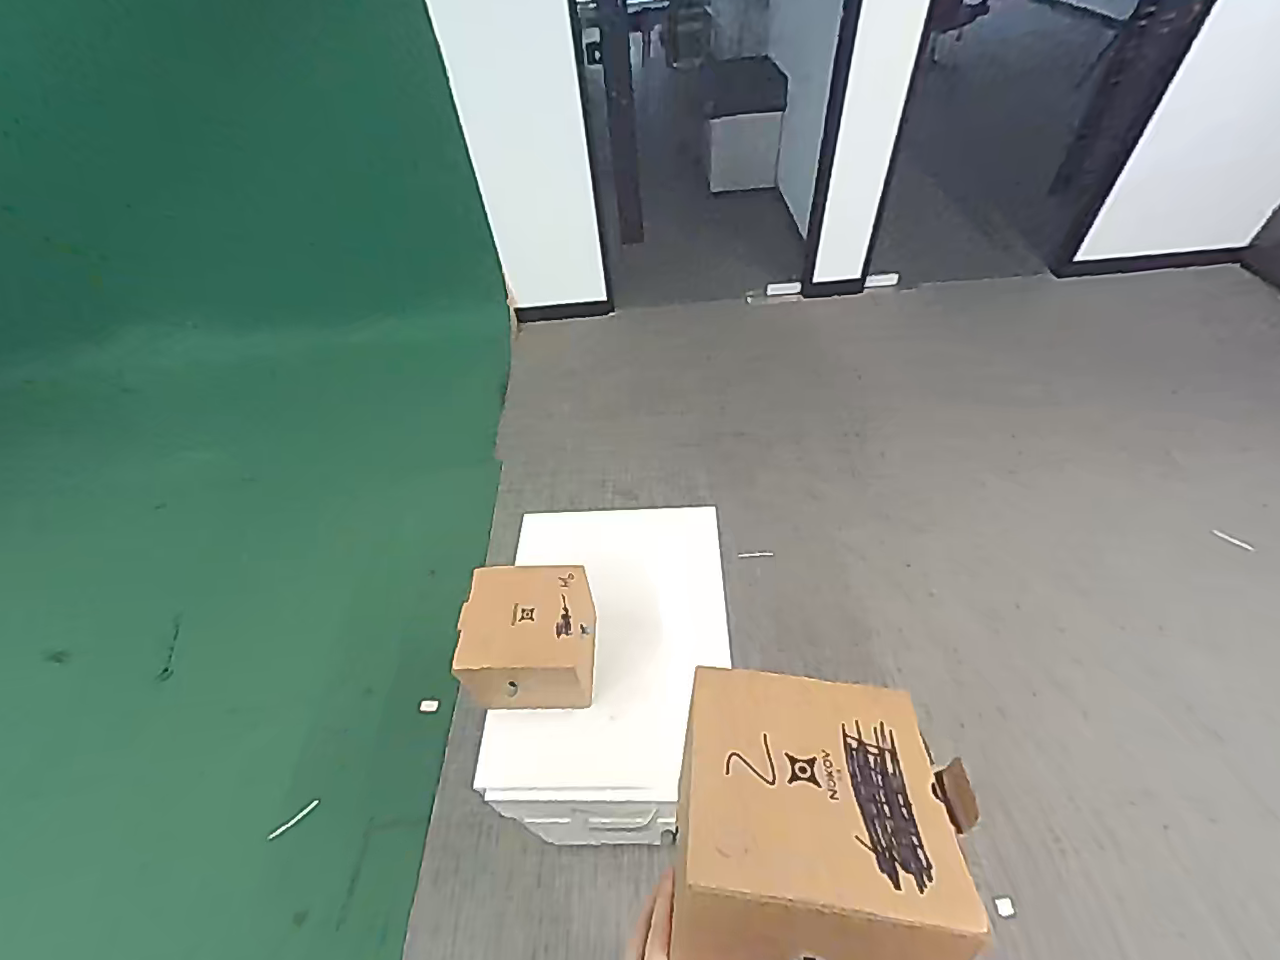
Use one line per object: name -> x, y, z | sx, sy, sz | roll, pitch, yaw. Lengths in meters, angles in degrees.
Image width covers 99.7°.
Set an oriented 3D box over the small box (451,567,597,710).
small box -> -0.169, 0.252, 0.850 | 0.179, 0.176, 0.168 | -2, 49, 3
